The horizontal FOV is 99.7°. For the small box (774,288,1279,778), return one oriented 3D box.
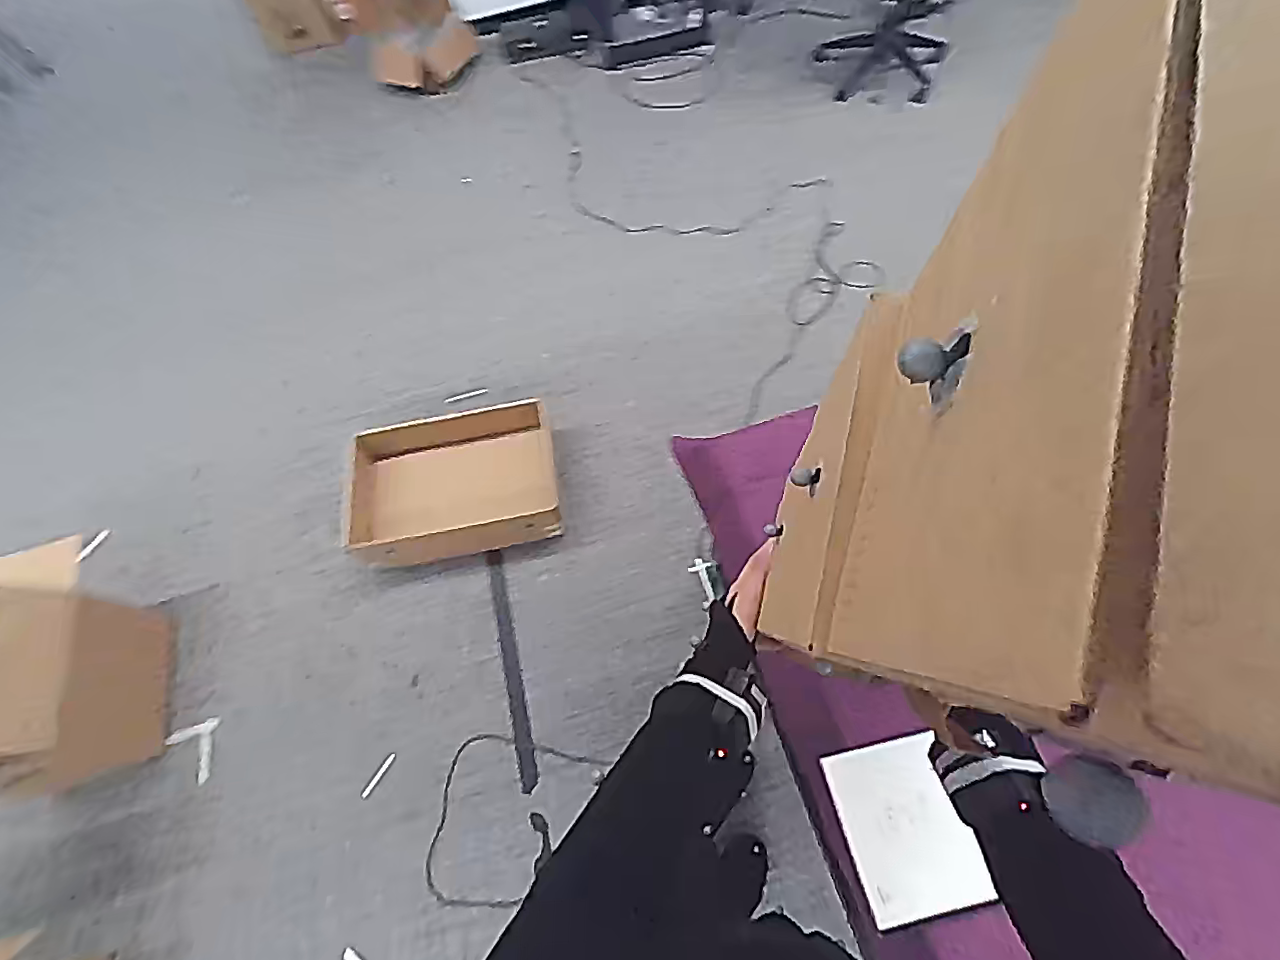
[{"bbox_3d":[0.173,0.027,0.297,0.168,0.176,0.179,11,77,11],"label":"small box"}]
